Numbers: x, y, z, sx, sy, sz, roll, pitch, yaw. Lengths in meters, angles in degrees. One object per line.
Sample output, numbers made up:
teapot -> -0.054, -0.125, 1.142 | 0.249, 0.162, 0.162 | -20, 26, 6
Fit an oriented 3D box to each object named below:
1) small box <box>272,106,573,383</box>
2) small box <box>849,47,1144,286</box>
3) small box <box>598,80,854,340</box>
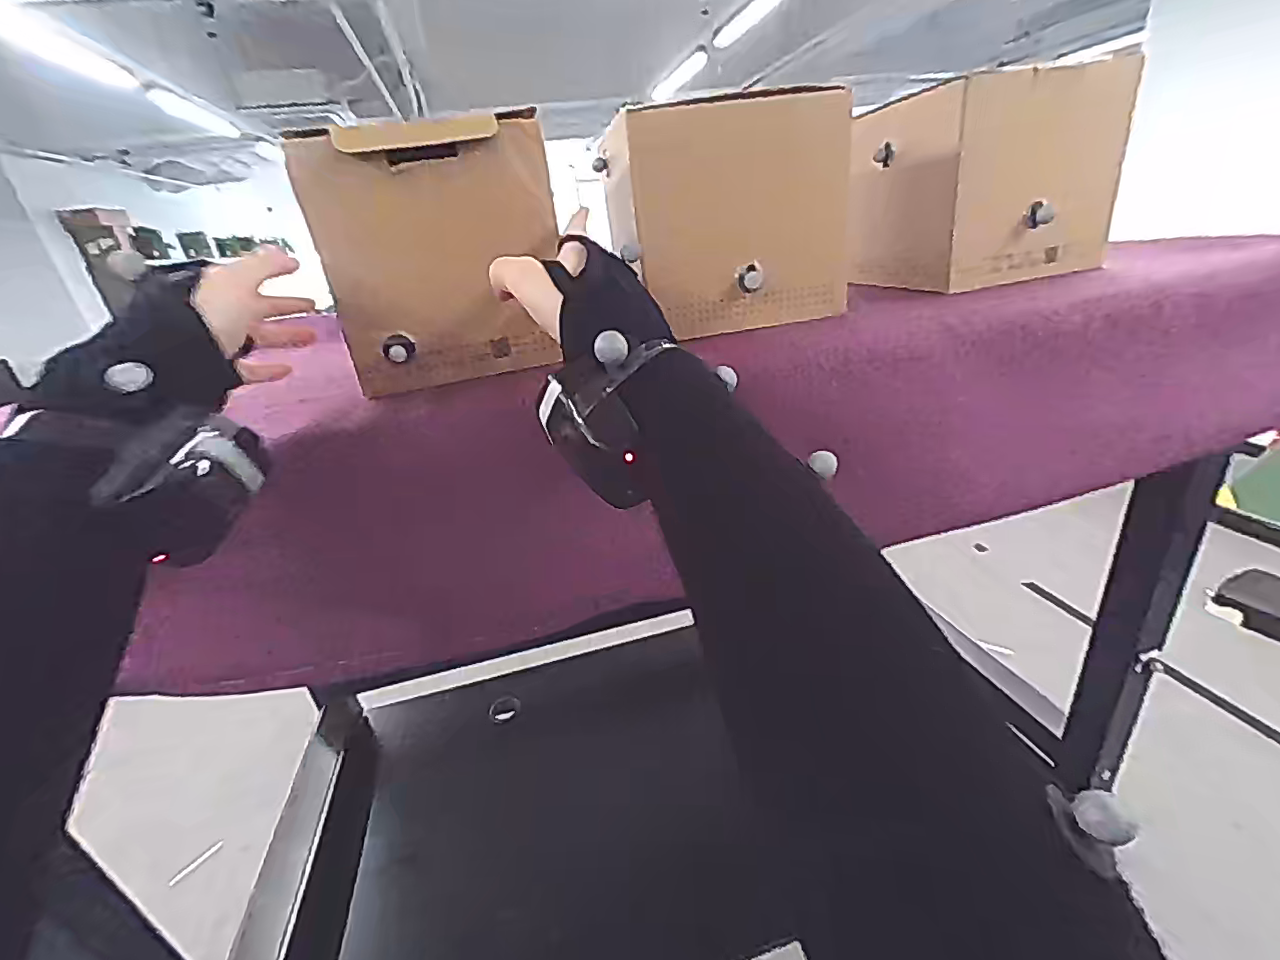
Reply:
small box -> -0.160, -0.185, 0.449 | 0.168, 0.176, 0.179 | -14, 25, -13
small box -> 0.323, -0.291, 0.535 | 0.168, 0.176, 0.179 | -12, 25, -7
small box -> 0.065, -0.232, 0.486 | 0.179, 0.176, 0.168 | -10, 24, -7
